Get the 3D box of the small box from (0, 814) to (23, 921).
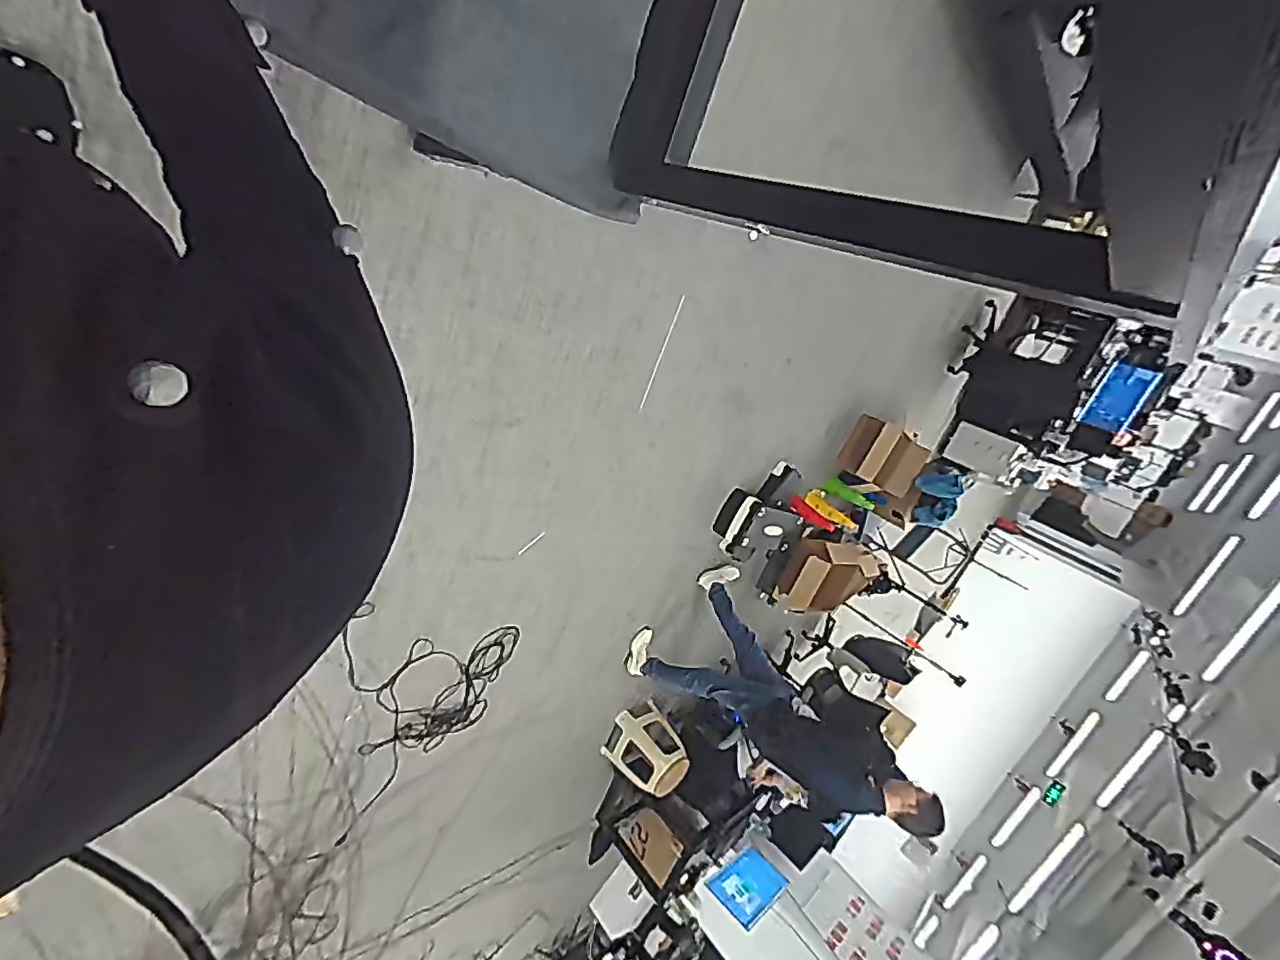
[{"bbox_3d":[-1.601,0.954,1.292,0.168,0.176,0.179,-3,117,-49],"label":"small box"}]
